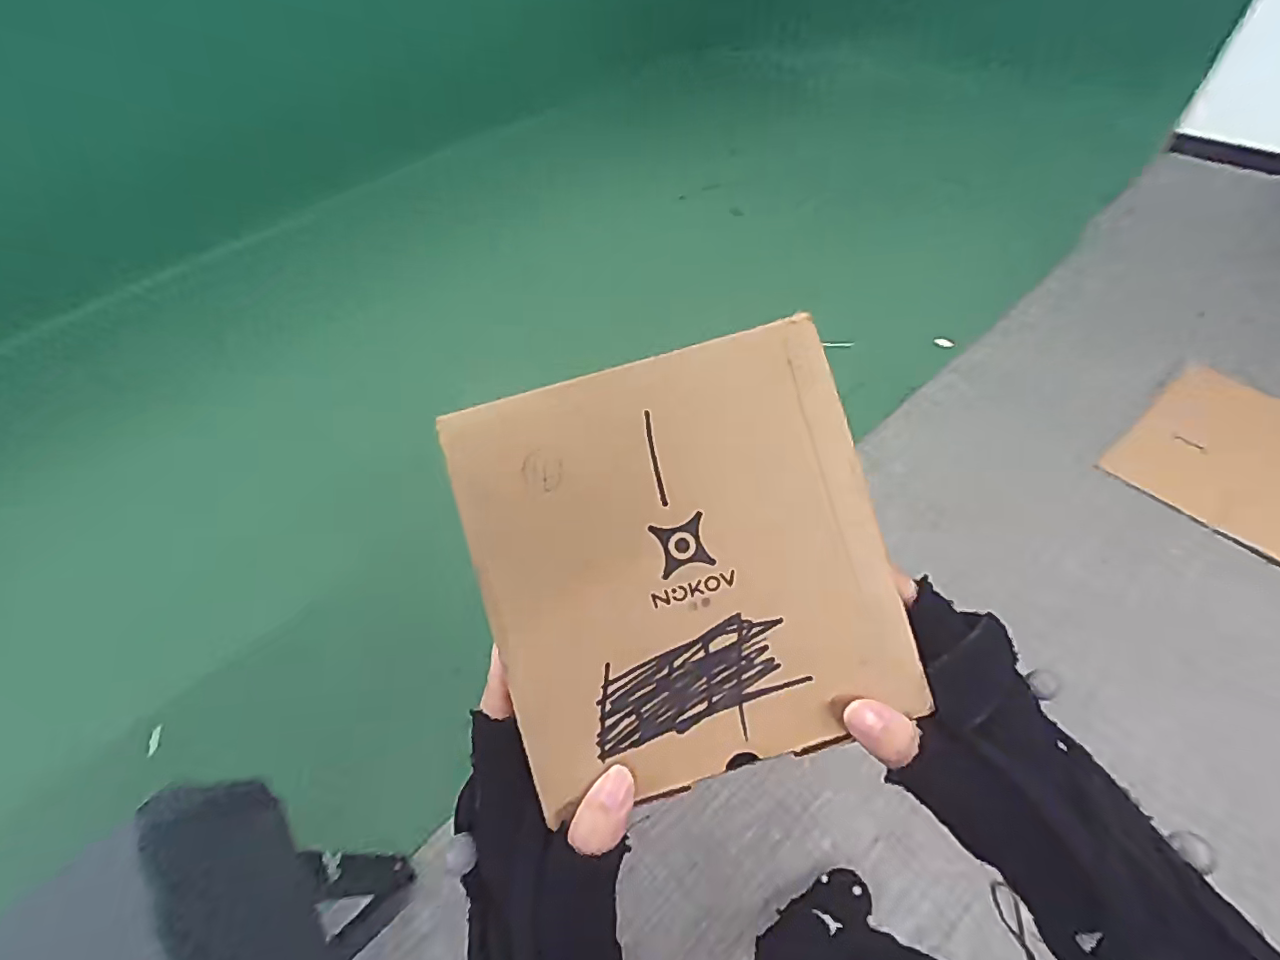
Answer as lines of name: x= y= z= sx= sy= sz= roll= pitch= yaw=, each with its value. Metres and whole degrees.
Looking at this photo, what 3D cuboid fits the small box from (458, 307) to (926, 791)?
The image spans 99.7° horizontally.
small box: x=0.021 y=0.031 z=0.310 sx=0.168 sy=0.176 sz=0.179 roll=-16 pitch=87 yaw=-2
